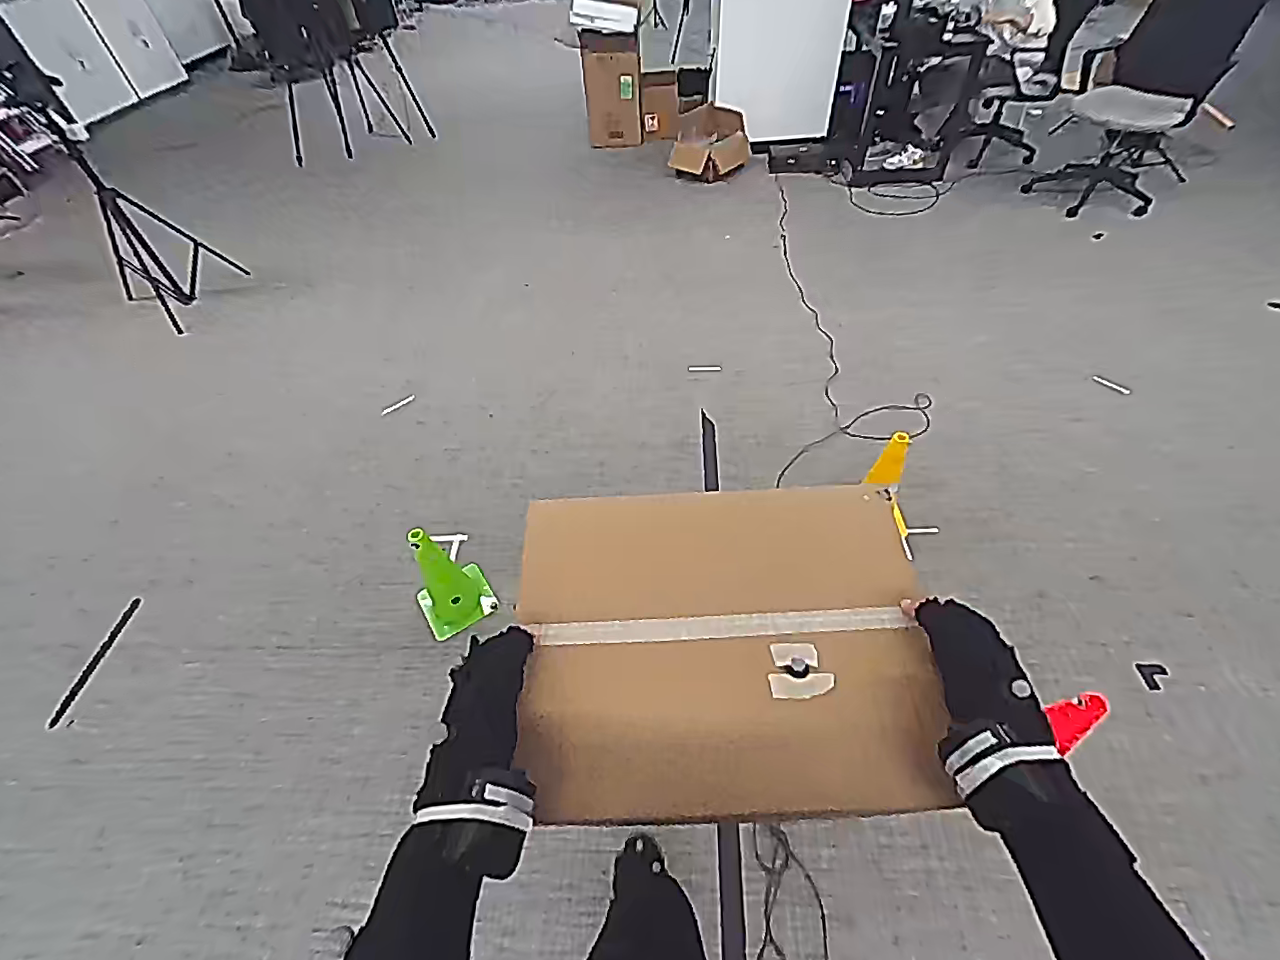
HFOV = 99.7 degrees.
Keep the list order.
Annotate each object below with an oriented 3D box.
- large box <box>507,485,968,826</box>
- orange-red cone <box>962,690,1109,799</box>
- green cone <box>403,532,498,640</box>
[{"bbox_3d":[0.081,0.227,0.663,0.408,0.320,0.320,-3,57,1],"label":"large box"},{"bbox_3d":[0.893,0.538,1.173,0.198,0.360,0.199,-2,47,2],"label":"orange-red cone"},{"bbox_3d":[-0.575,0.260,1.536,0.202,0.368,0.200,-31,53,-19],"label":"green cone"}]
